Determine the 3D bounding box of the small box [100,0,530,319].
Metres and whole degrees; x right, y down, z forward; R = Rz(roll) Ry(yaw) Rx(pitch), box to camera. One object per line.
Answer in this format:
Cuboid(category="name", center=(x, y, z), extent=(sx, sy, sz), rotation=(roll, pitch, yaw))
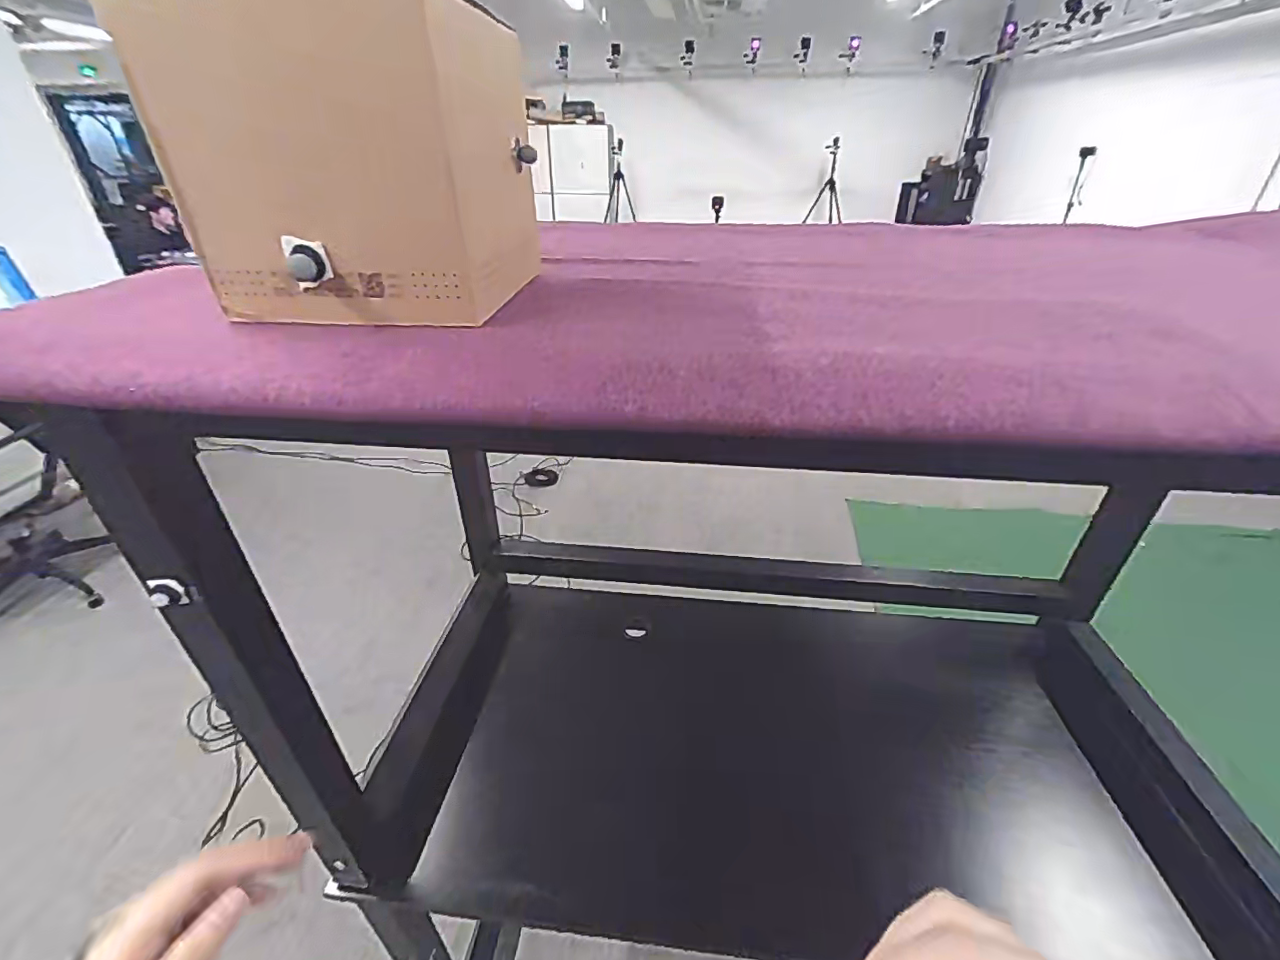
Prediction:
Cuboid(category="small box", center=(-0.176, -0.215, 0.358), extent=(0.168, 0.176, 0.179), rotation=(0, 33, 3))
